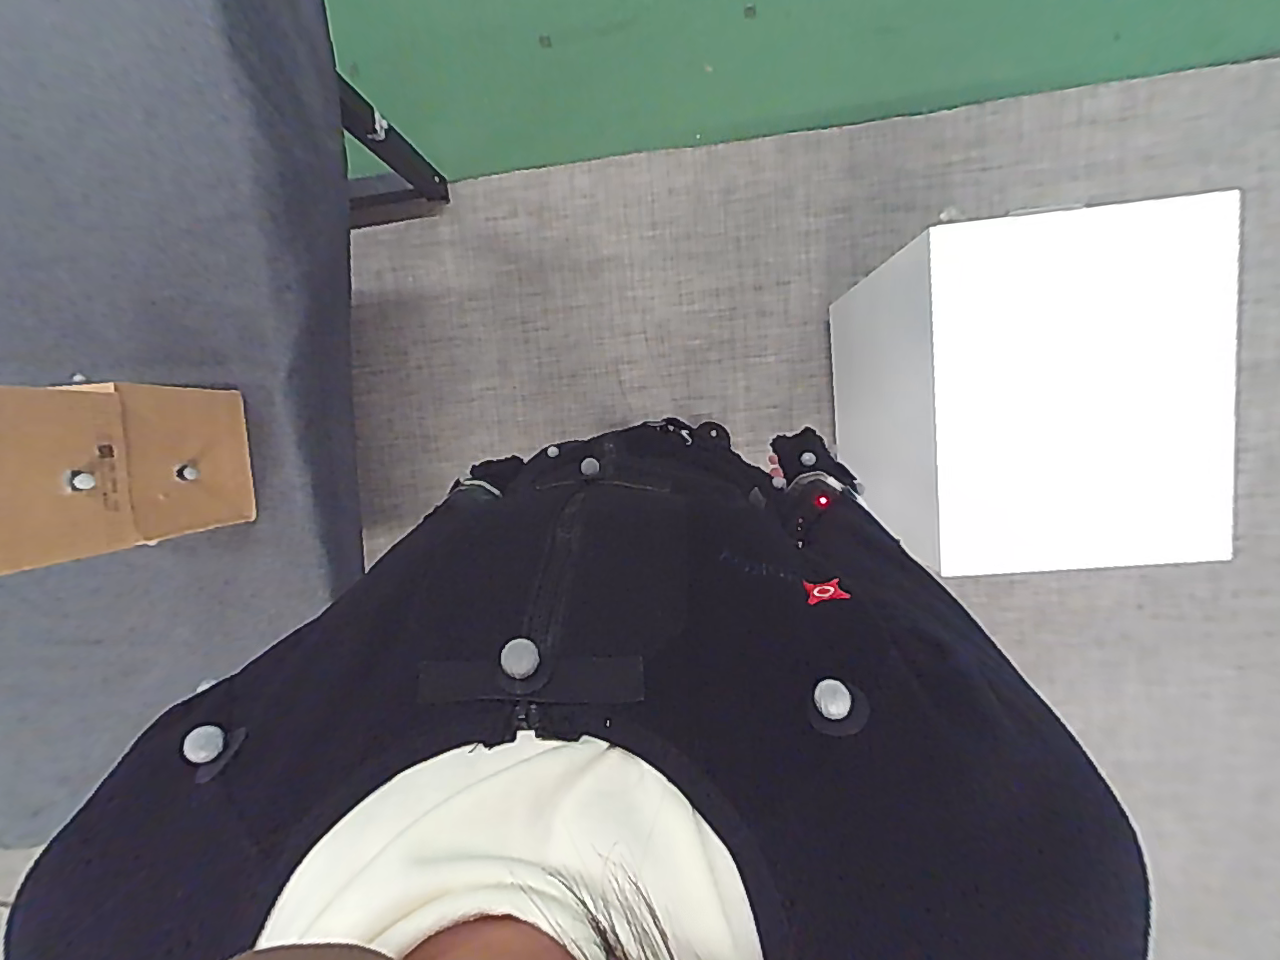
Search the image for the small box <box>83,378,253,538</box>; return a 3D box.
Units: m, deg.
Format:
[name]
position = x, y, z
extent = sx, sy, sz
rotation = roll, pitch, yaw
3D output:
[small box]
position = -0.620, -0.032, 0.669
extent = 0.168, 0.176, 0.179
rotation = -2, 97, 6
